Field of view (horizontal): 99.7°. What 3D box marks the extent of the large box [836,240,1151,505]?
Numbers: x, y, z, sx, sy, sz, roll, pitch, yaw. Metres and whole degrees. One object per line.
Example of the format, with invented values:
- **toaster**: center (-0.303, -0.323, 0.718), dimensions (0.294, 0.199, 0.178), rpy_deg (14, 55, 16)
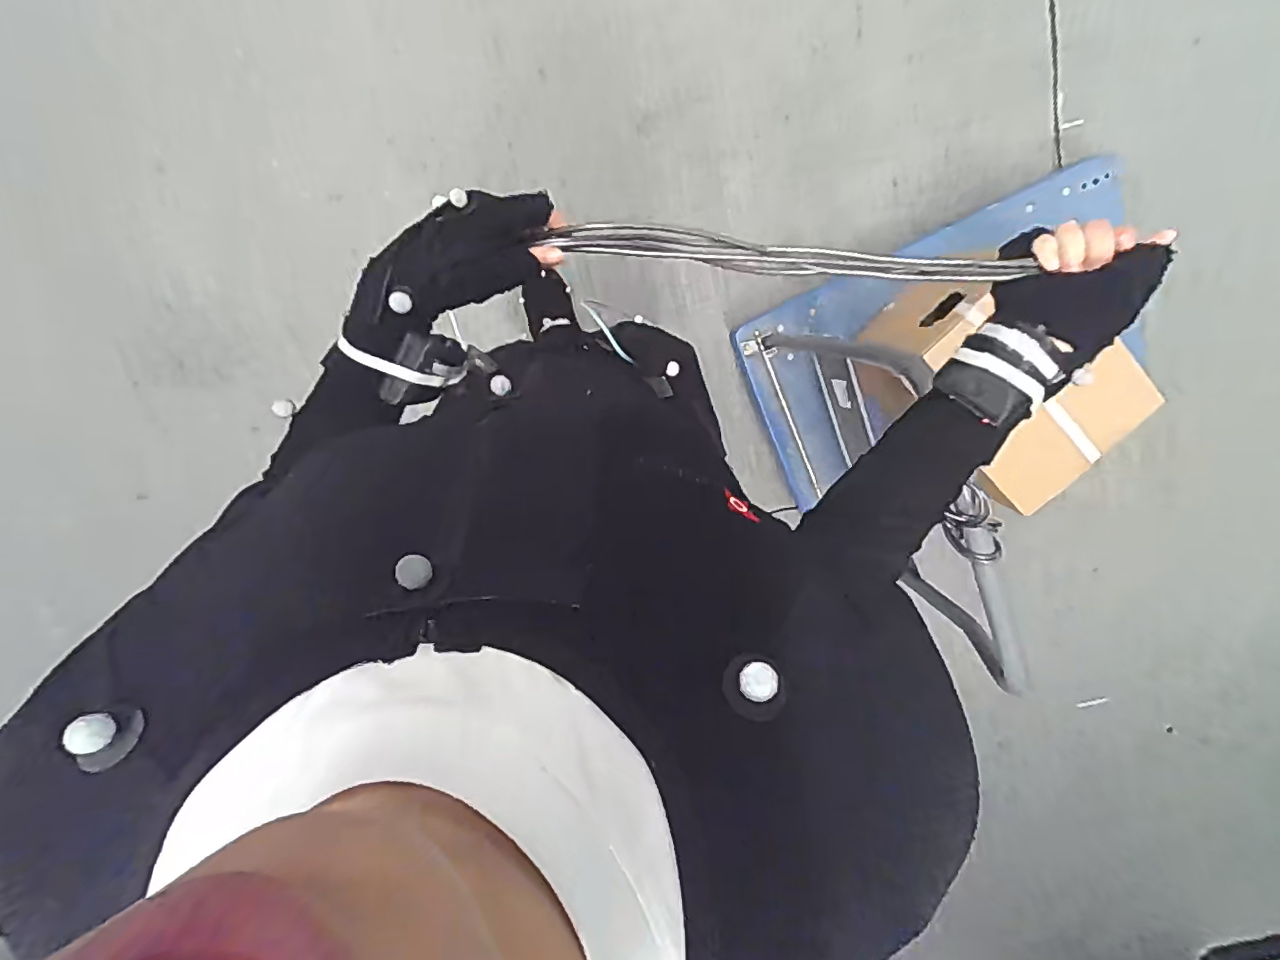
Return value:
- **large box**: center (0.700, -0.224, 1.130), dimensions (0.408, 0.320, 0.320), rpy_deg (42, 102, -13)
